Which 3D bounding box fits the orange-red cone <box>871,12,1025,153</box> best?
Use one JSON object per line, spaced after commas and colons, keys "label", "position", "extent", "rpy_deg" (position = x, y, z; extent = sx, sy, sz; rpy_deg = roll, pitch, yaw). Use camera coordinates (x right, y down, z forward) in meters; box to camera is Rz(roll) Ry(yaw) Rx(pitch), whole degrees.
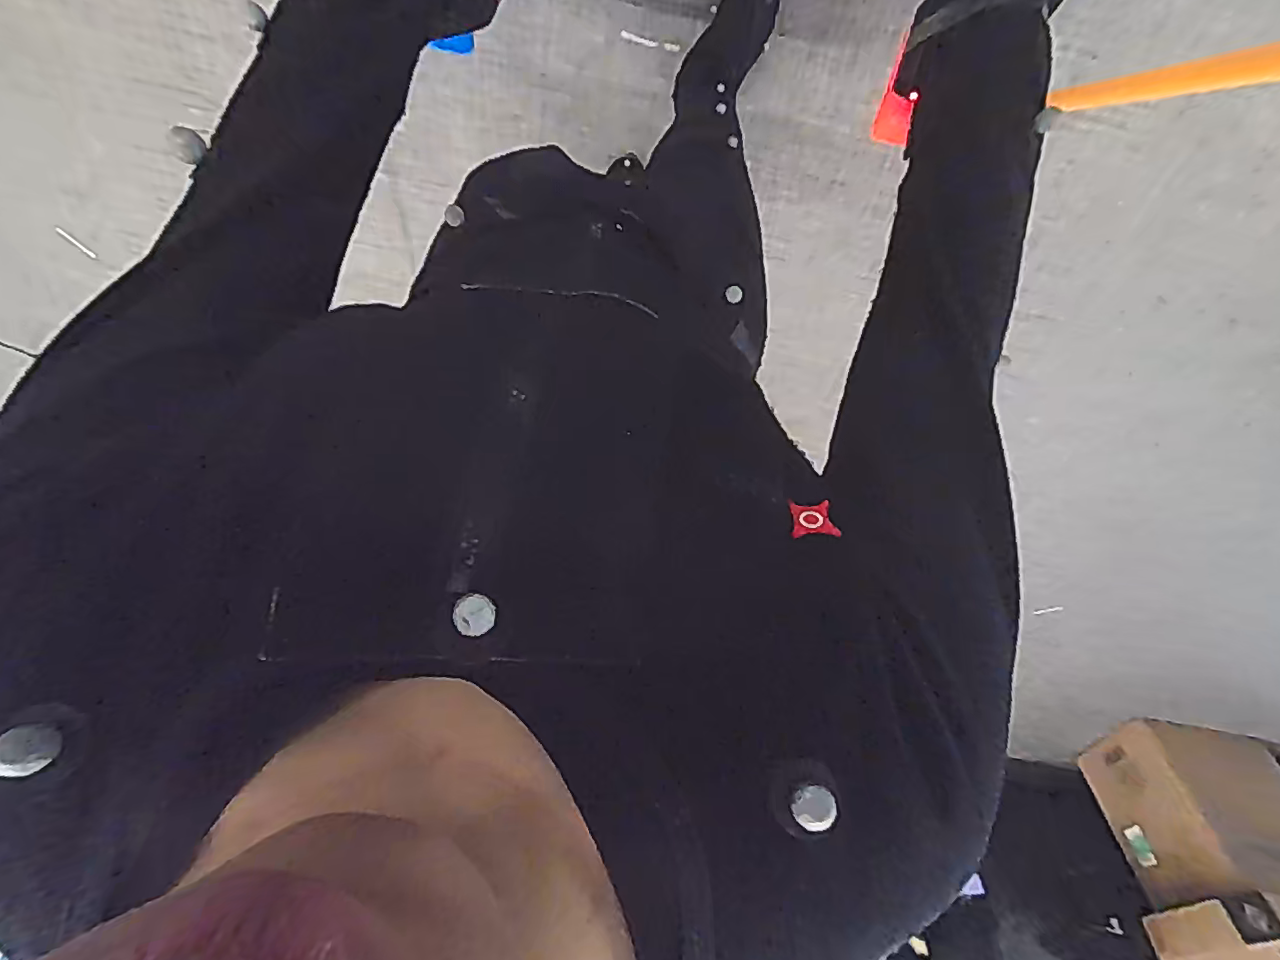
{"label": "orange-red cone", "position": [0.554, -0.655, 0.915], "extent": [0.199, 0.360, 0.198], "rpy_deg": [13, 129, -1]}
